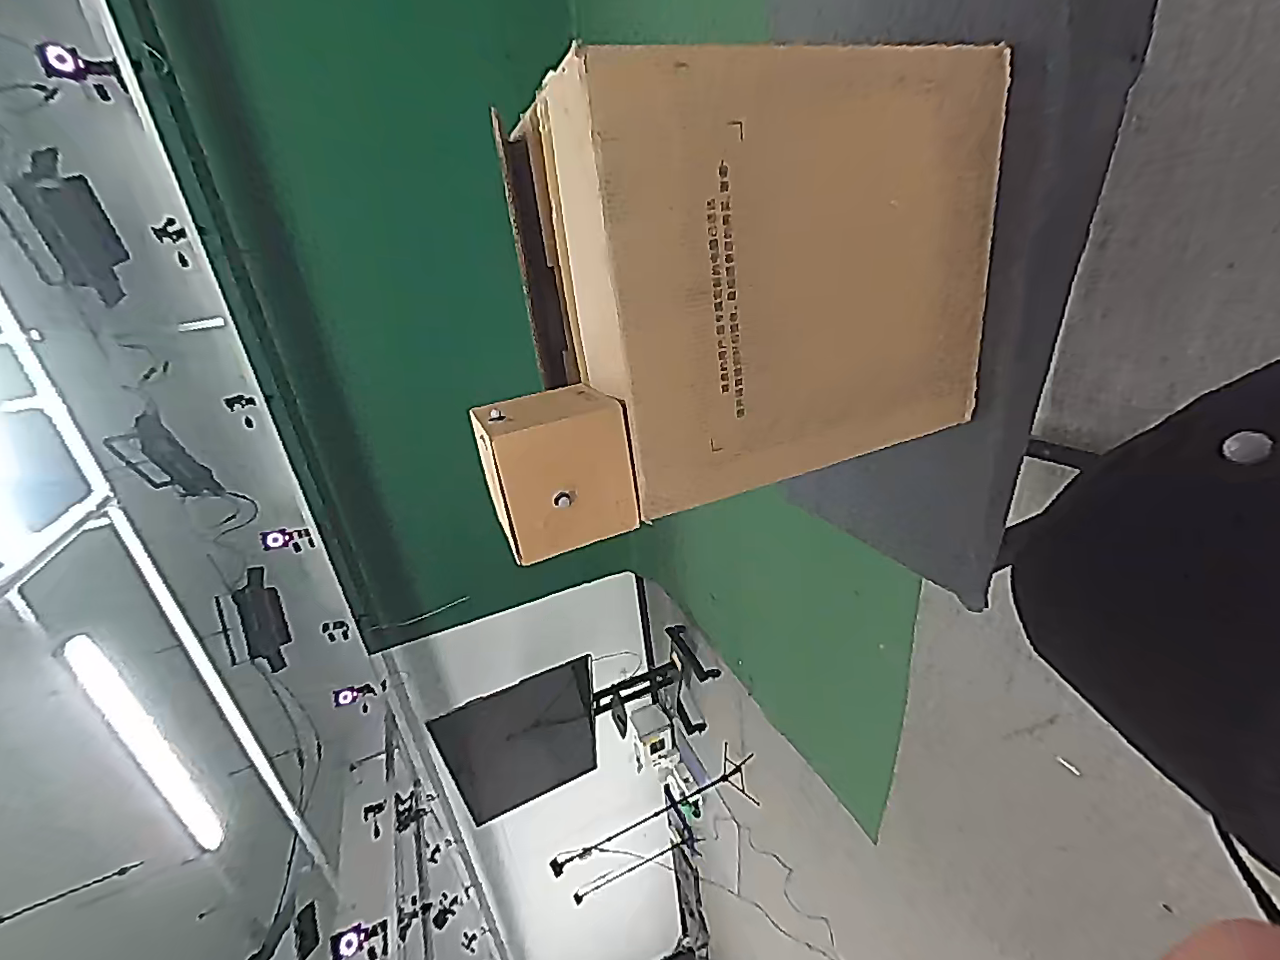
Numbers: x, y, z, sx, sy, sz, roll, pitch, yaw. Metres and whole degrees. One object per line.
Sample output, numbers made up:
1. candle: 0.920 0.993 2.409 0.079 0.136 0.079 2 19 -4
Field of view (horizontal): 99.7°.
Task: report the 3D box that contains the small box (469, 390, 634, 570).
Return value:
1. small box: -0.119 -0.010 0.744 0.168 0.176 0.179 35 139 58
